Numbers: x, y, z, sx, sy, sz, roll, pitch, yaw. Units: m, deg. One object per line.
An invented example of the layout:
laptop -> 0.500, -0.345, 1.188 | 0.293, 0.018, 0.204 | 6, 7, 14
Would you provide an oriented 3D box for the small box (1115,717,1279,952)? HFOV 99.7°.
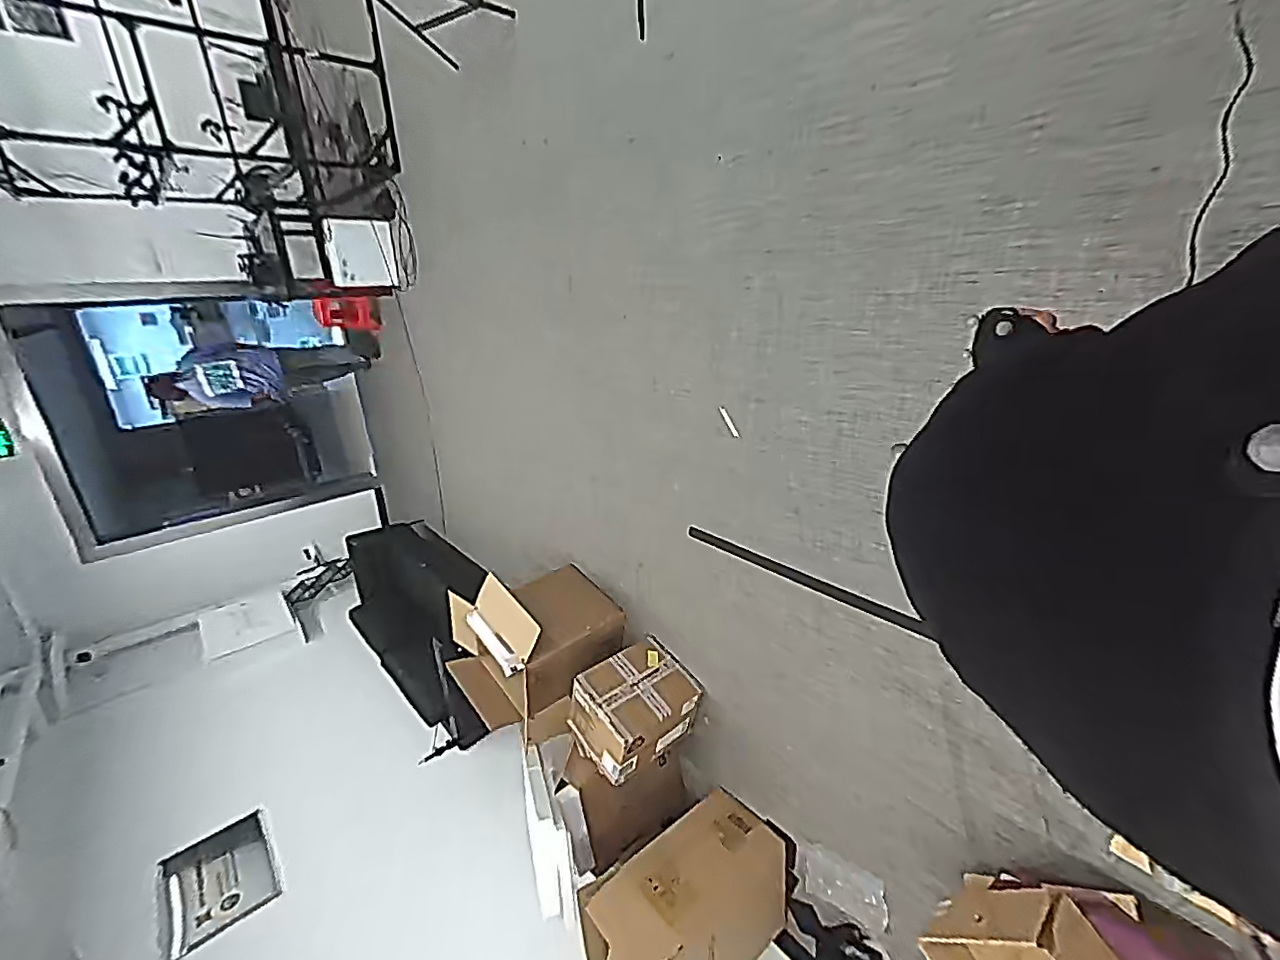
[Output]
small box -> 0.809, 0.472, 0.751 | 0.168, 0.176, 0.179 | 25, 124, 46
